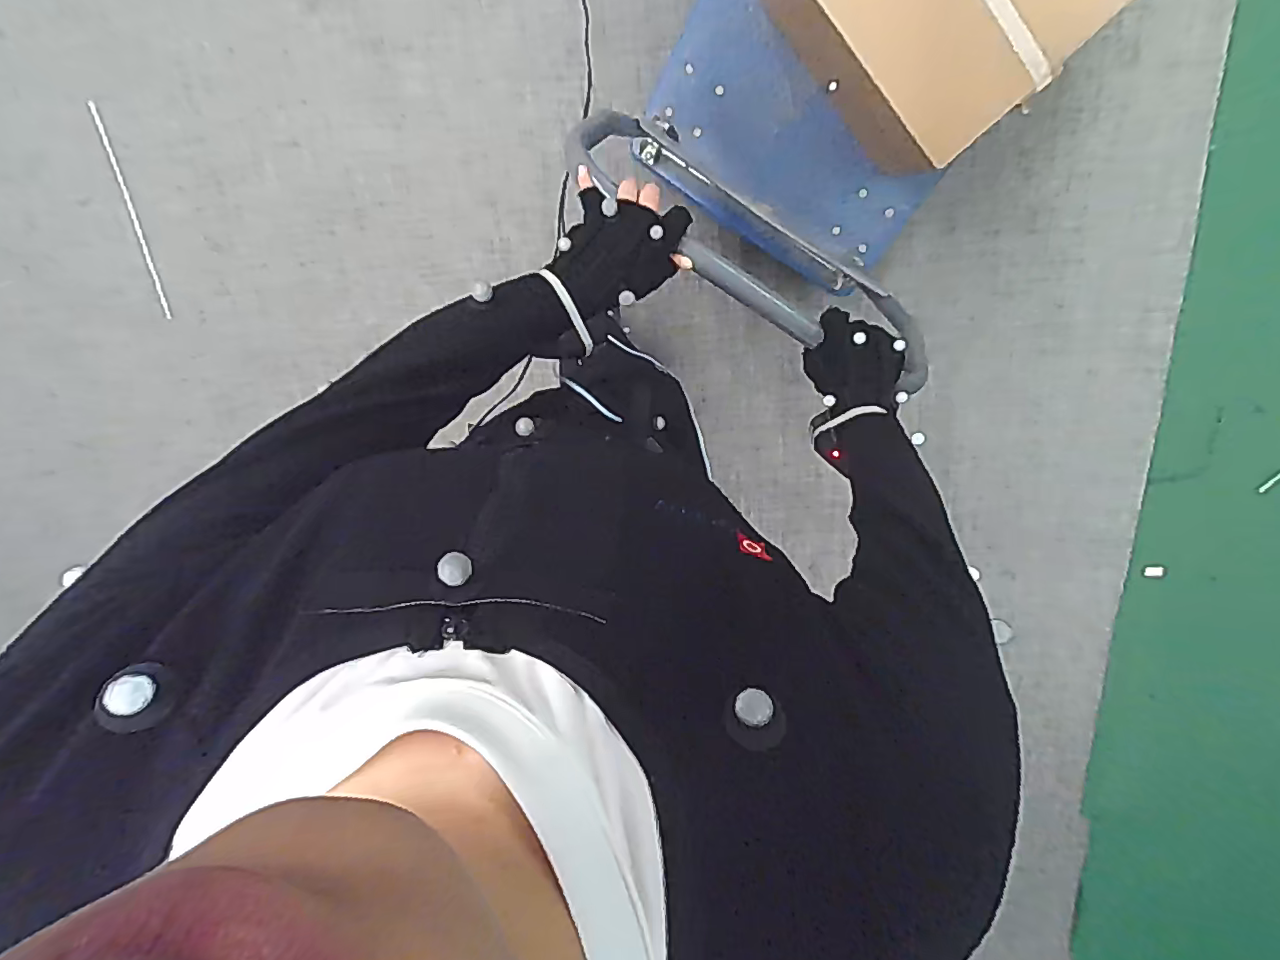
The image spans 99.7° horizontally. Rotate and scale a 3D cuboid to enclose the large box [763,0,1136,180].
[{"bbox_3d":[0.442,-0.751,0.851,0.320,0.320,0.408,-39,105,25],"label":"large box"}]
